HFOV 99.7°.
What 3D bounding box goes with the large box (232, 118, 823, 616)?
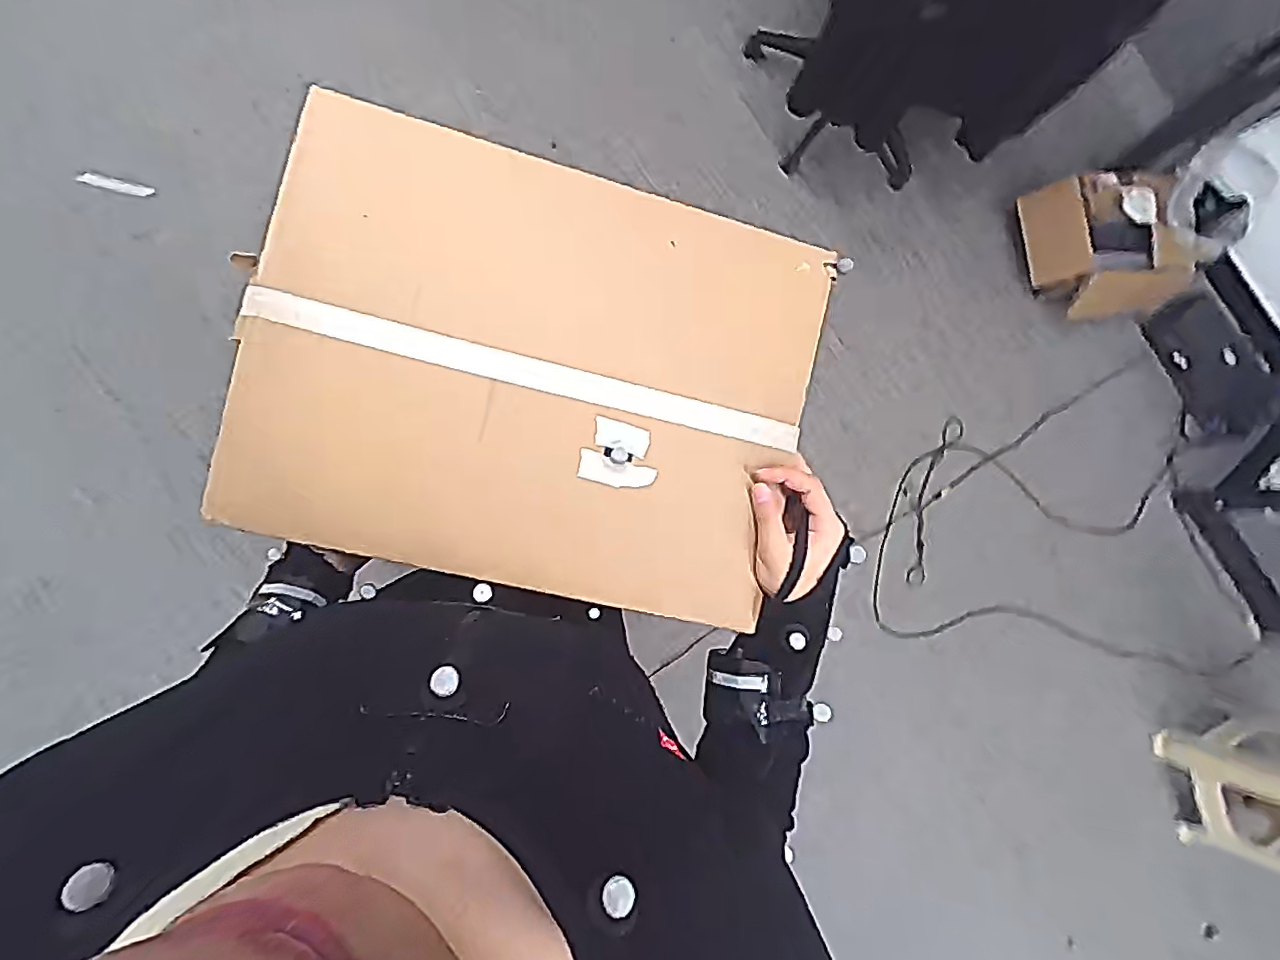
[{"bbox_3d":[-0.092,-0.074,0.558,0.408,0.320,0.320,12,89,-10],"label":"large box"}]
